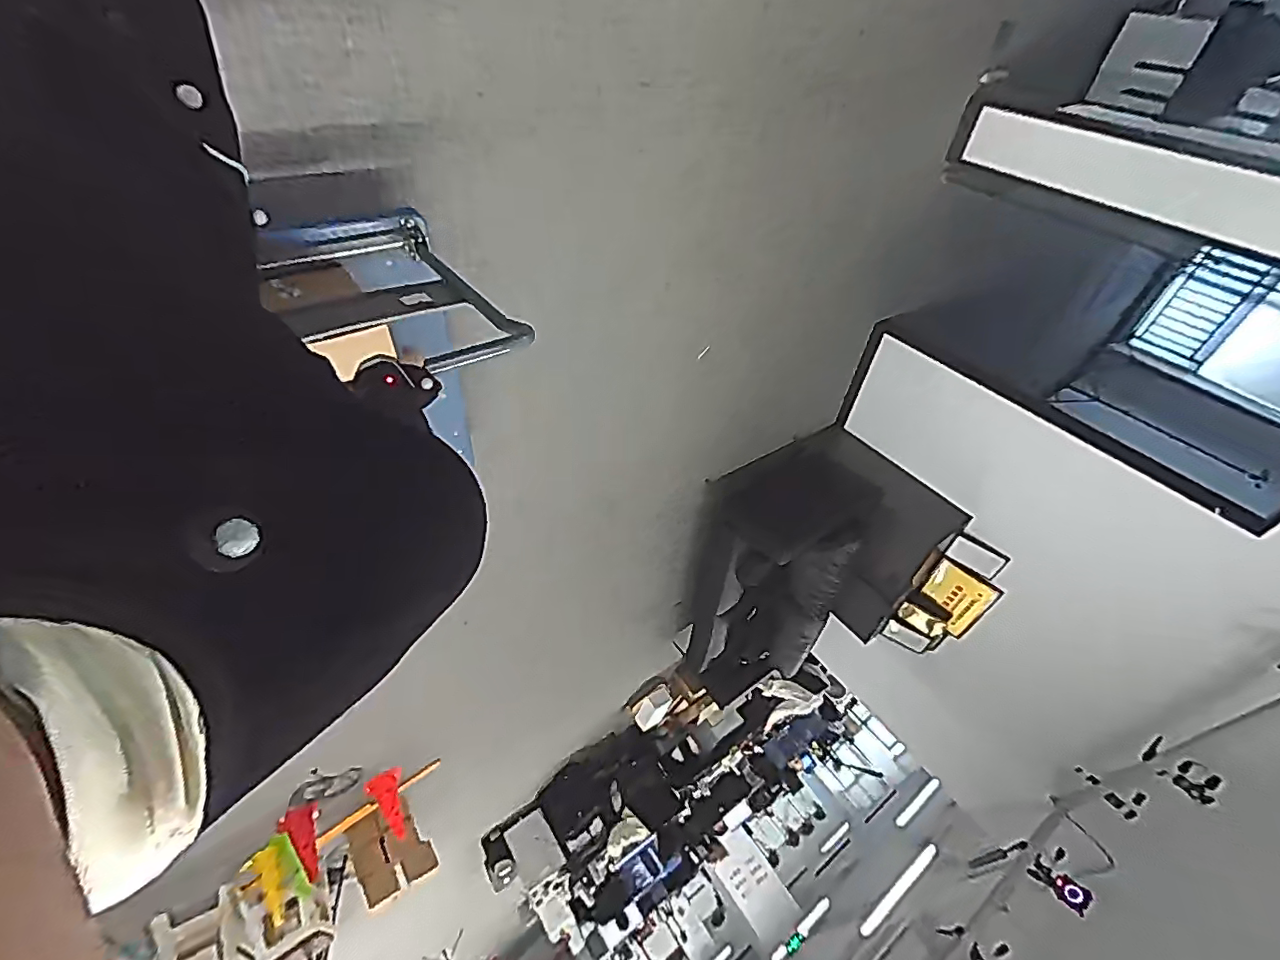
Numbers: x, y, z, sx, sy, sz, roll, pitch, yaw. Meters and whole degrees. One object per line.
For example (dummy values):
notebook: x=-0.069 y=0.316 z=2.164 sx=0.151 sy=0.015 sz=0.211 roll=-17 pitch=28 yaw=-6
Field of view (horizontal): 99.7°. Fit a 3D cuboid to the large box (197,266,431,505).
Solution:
large box: x=-0.747 y=-0.226 z=1.278 sx=0.320 sy=0.320 sz=0.408 roll=-26 pitch=143 yaw=-26
